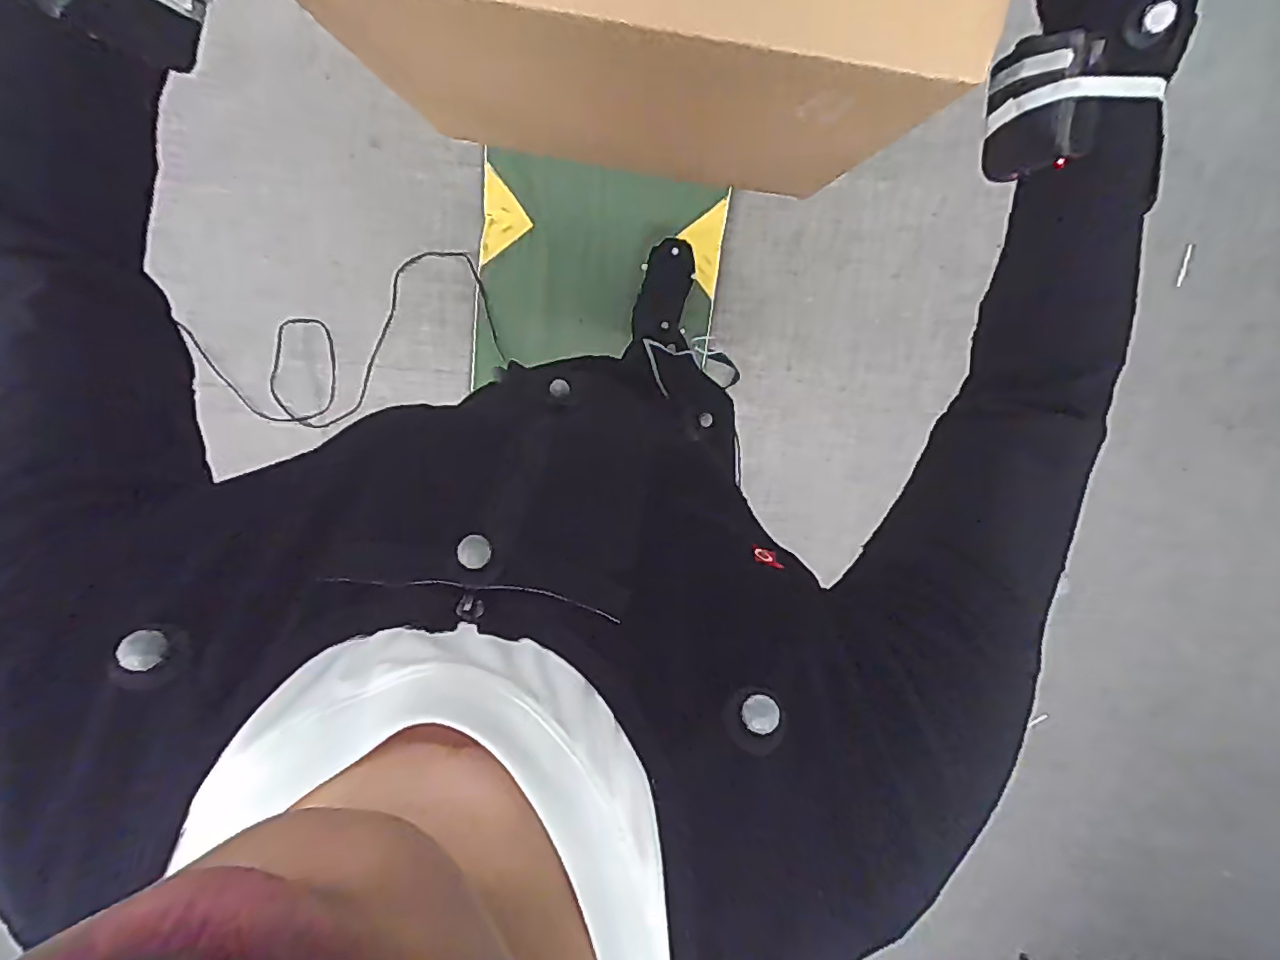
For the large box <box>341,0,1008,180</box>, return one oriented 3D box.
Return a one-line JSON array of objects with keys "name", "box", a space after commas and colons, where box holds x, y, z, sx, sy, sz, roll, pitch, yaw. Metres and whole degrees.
[{"name": "large box", "box": [0.018, -0.449, 0.395, 0.408, 0.320, 0.320, 7, 107, -4]}]
